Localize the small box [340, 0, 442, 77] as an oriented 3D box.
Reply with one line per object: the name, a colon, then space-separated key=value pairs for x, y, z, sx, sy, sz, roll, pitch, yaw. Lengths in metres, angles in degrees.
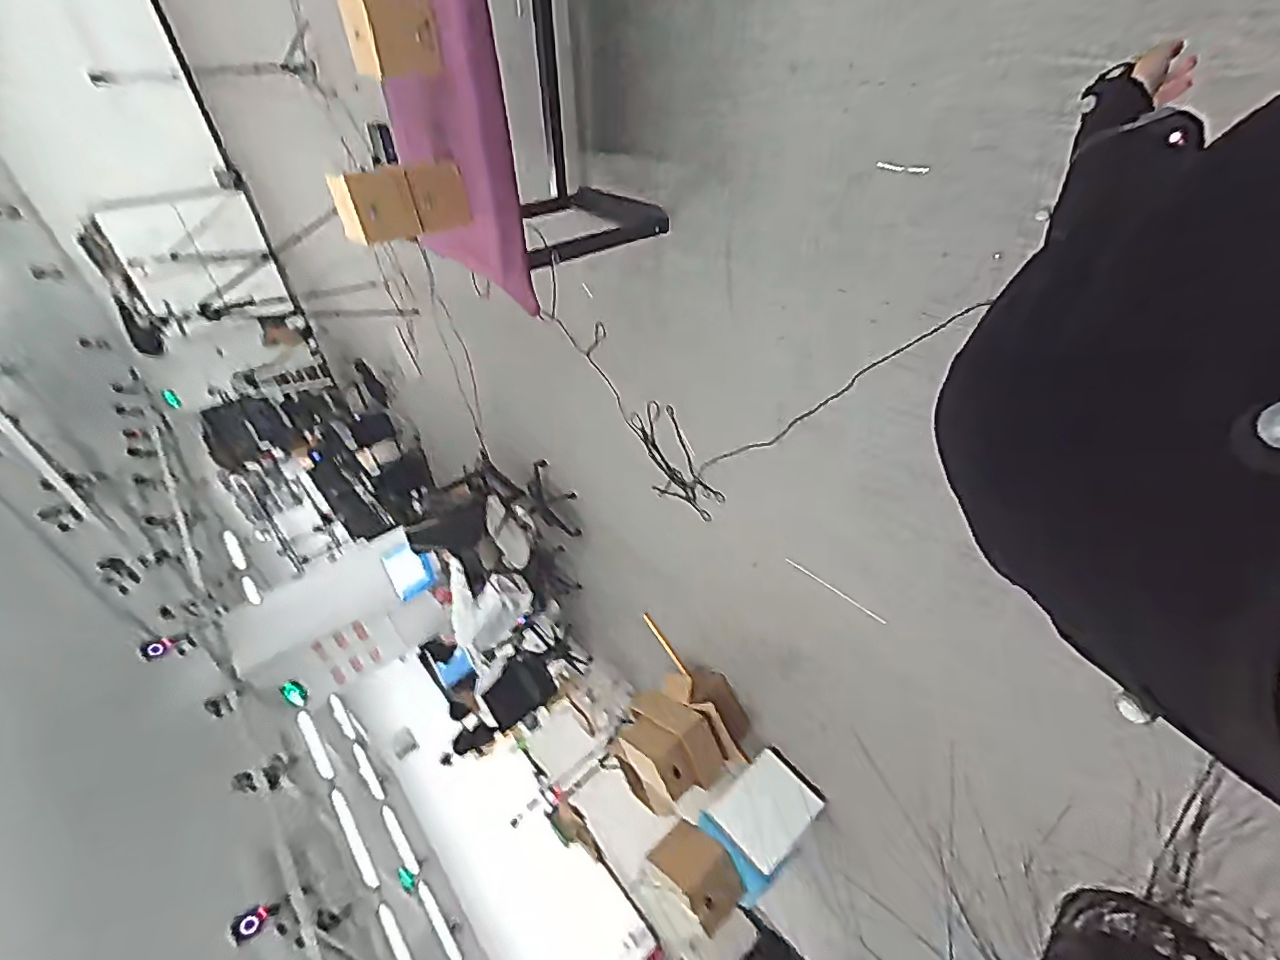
small box: x=-0.632 y=-1.143 z=1.379 sx=0.179 sy=0.176 sz=0.168 roll=37 pitch=143 yaw=34

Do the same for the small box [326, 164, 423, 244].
small box: x=-0.754 y=-0.793 z=1.545 sx=0.168 sy=0.176 sz=0.179 roll=29 pitch=139 yaw=39

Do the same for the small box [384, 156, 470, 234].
small box: x=-0.636 y=-0.862 z=1.632 sx=0.168 sy=0.176 sz=0.179 roll=31 pitch=139 yaw=38
